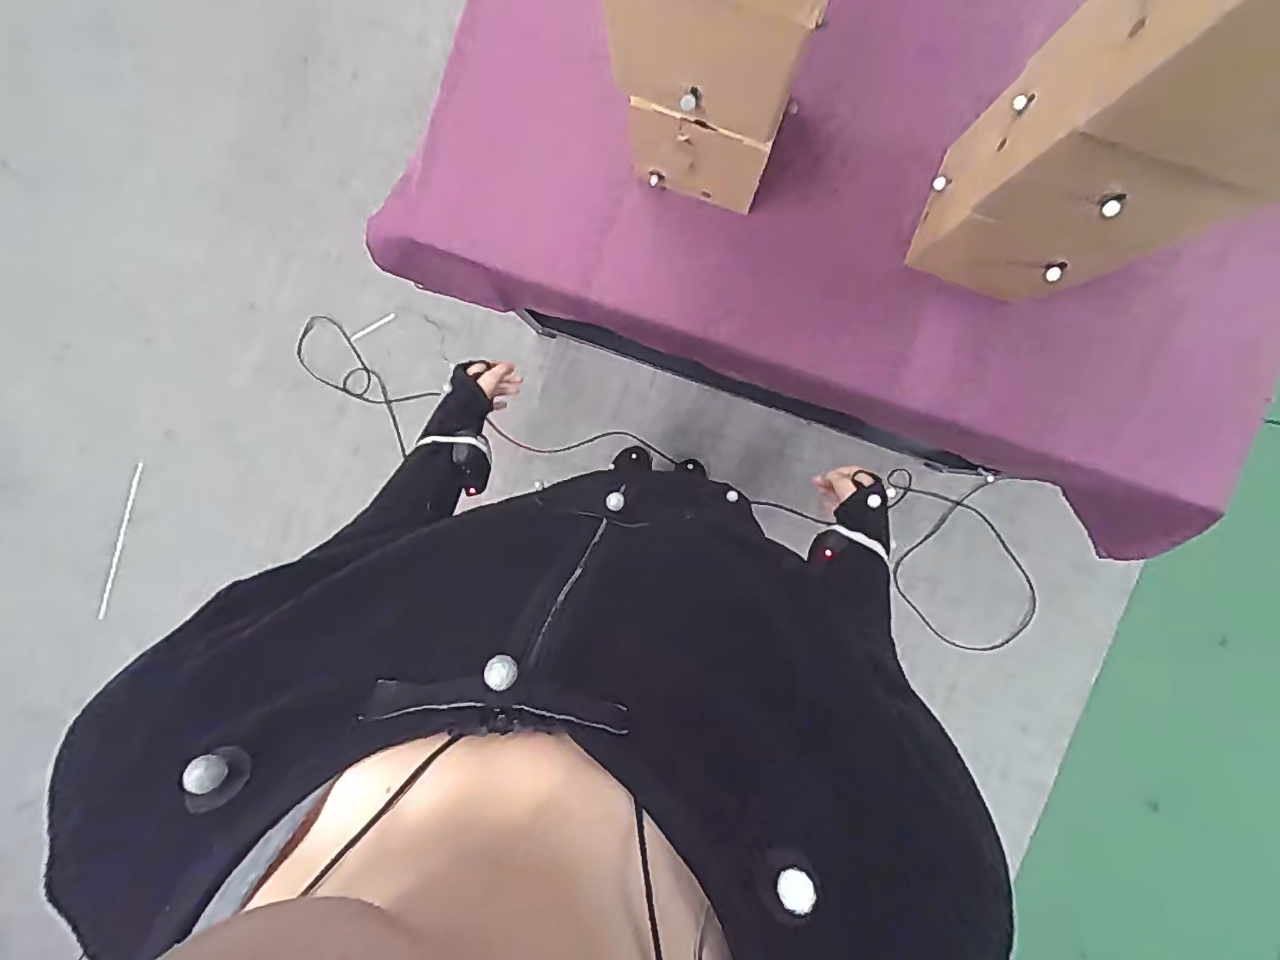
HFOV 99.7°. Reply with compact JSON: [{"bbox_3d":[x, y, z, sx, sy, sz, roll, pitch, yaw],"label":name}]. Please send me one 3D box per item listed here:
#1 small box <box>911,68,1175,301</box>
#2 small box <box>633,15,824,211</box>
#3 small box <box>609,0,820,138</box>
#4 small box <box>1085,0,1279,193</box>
[{"bbox_3d":[0.471,-0.334,0.652,0.179,0.176,0.168,20,94,1],"label":"small box"},{"bbox_3d":[0.100,-0.465,0.661,0.168,0.176,0.179,19,93,1],"label":"small box"},{"bbox_3d":[0.083,-0.458,0.498,0.179,0.176,0.168,21,94,0],"label":"small box"},{"bbox_3d":[0.440,-0.307,0.326,0.179,0.176,0.168,20,93,2],"label":"small box"}]
